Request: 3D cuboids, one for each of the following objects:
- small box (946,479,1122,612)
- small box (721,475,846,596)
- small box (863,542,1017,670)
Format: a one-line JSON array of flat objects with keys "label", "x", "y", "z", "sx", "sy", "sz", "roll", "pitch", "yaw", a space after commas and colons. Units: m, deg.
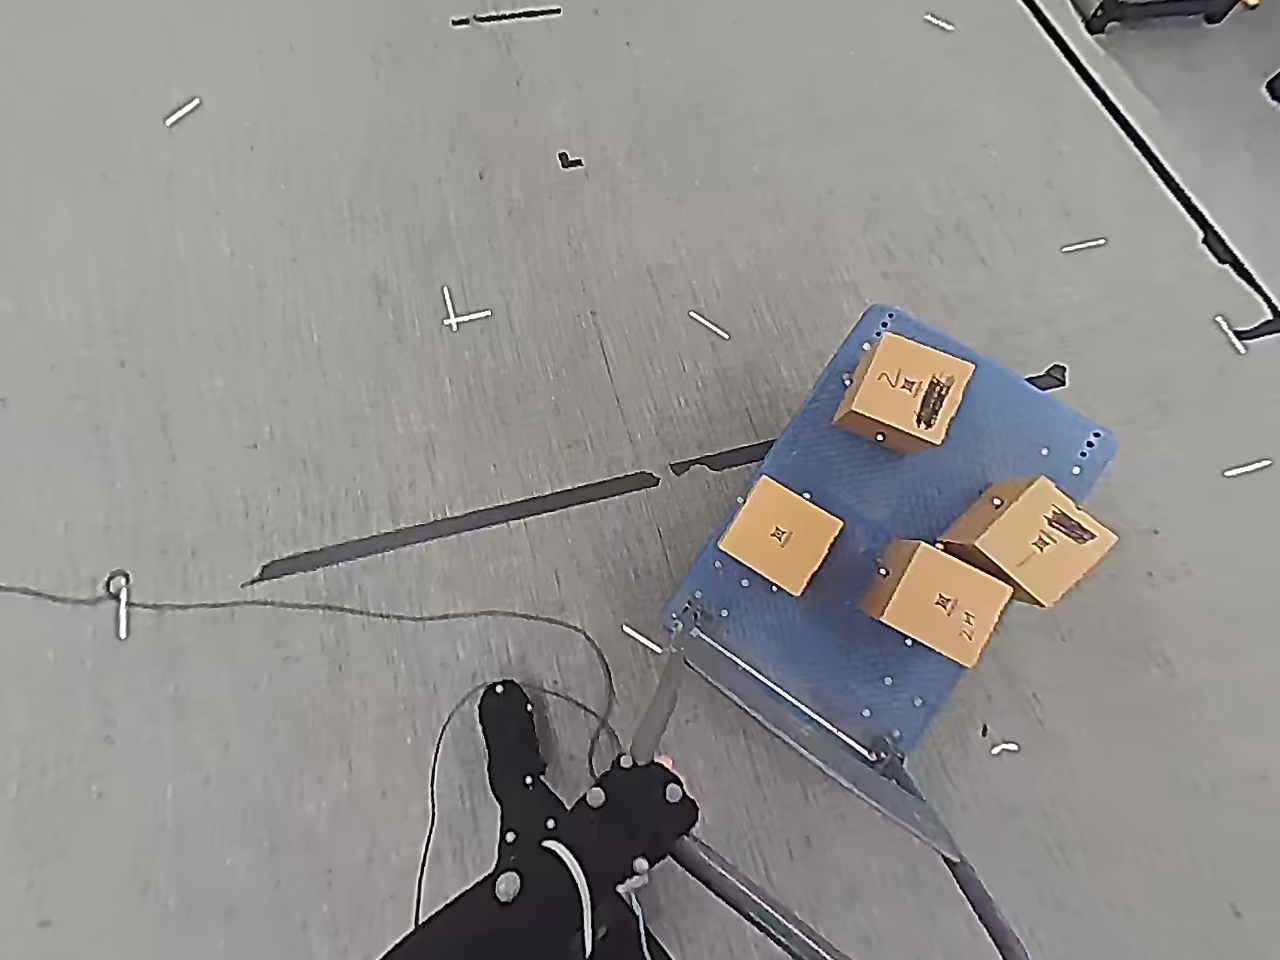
[{"label": "small box", "x": 0.727, "y": 0.119, "z": 1.025, "sx": 0.168, "sy": 0.176, "sz": 0.179, "roll": 45, "pitch": 93, "yaw": 9}, {"label": "small box", "x": 0.276, "y": 0.110, "z": 1.089, "sx": 0.179, "sy": 0.176, "sz": 0.168, "roll": 32, "pitch": 90, "yaw": 8}, {"label": "small box", "x": 0.560, "y": 0.232, "z": 1.038, "sx": 0.179, "sy": 0.176, "sz": 0.168, "roll": 29, "pitch": 90, "yaw": 10}]
